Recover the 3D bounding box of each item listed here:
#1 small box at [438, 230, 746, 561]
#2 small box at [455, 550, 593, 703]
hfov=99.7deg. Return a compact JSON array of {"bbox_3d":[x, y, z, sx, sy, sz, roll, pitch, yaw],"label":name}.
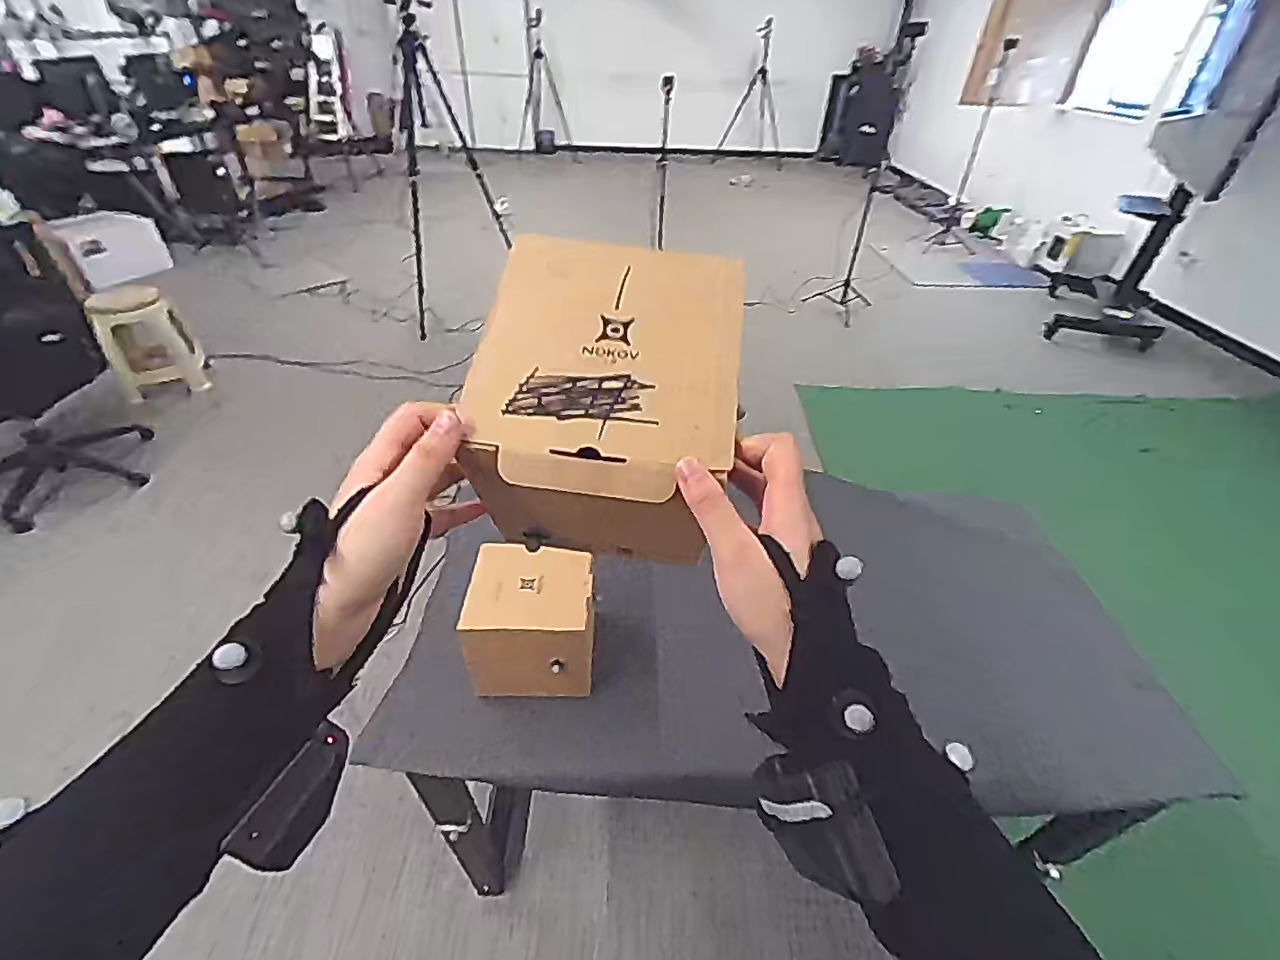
[{"bbox_3d":[-0.021,-0.051,0.404,0.168,0.176,0.179,7,64,3],"label":"small box"},{"bbox_3d":[-0.164,0.225,0.834,0.179,0.176,0.168,-1,37,-1],"label":"small box"}]
